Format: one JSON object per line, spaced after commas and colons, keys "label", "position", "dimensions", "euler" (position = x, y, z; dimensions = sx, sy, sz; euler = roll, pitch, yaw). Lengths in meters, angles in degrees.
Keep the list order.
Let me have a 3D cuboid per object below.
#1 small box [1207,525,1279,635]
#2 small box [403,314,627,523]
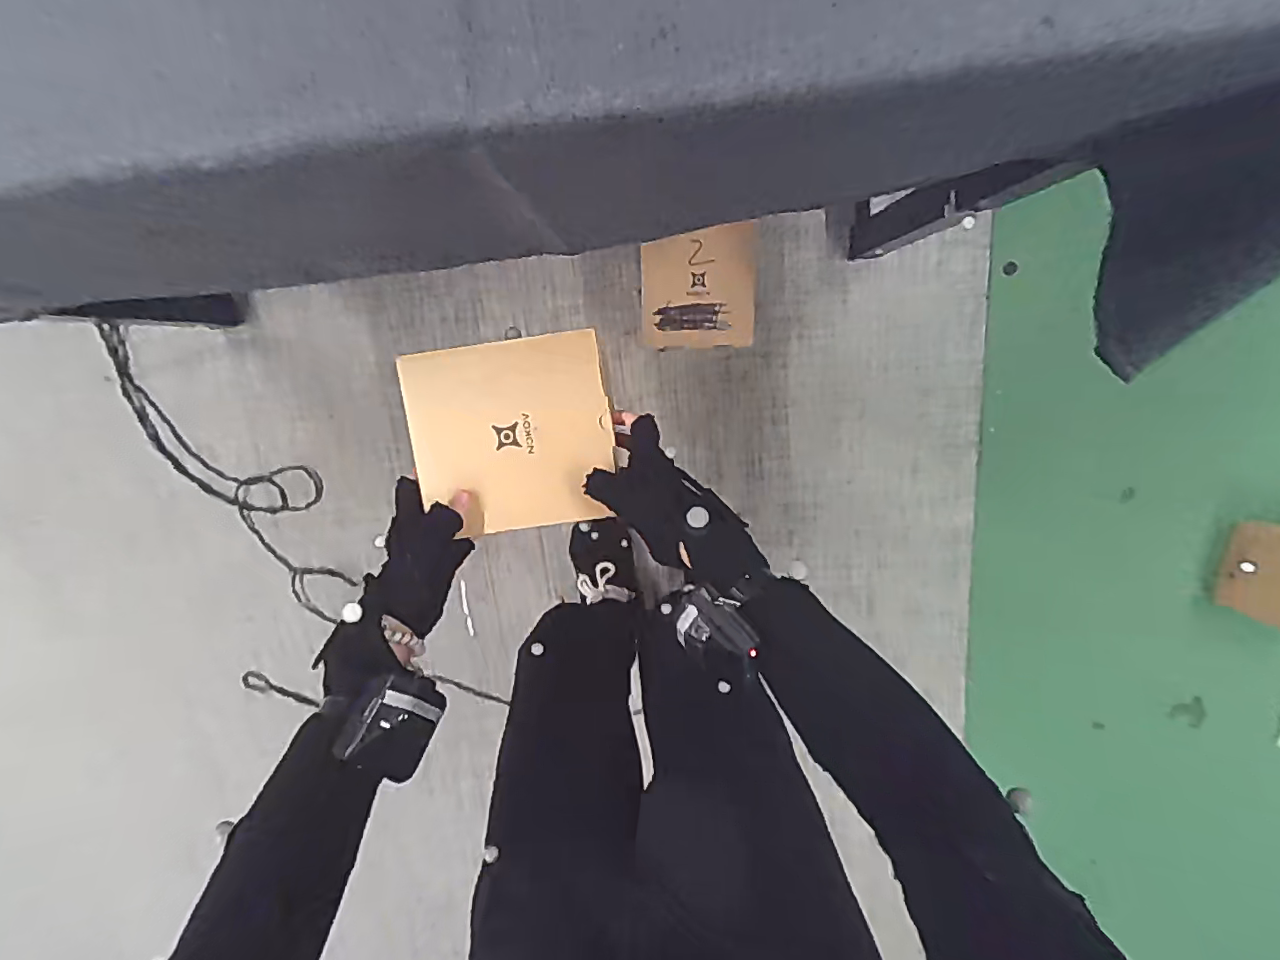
{"label": "small box", "position": [1.192, 0.187, 0.955], "dimensions": [0.179, 0.176, 0.168], "euler": [6, 103, 1]}
{"label": "small box", "position": [-0.110, -0.058, 0.549], "dimensions": [0.179, 0.176, 0.168], "euler": [-8, 95, -1]}
